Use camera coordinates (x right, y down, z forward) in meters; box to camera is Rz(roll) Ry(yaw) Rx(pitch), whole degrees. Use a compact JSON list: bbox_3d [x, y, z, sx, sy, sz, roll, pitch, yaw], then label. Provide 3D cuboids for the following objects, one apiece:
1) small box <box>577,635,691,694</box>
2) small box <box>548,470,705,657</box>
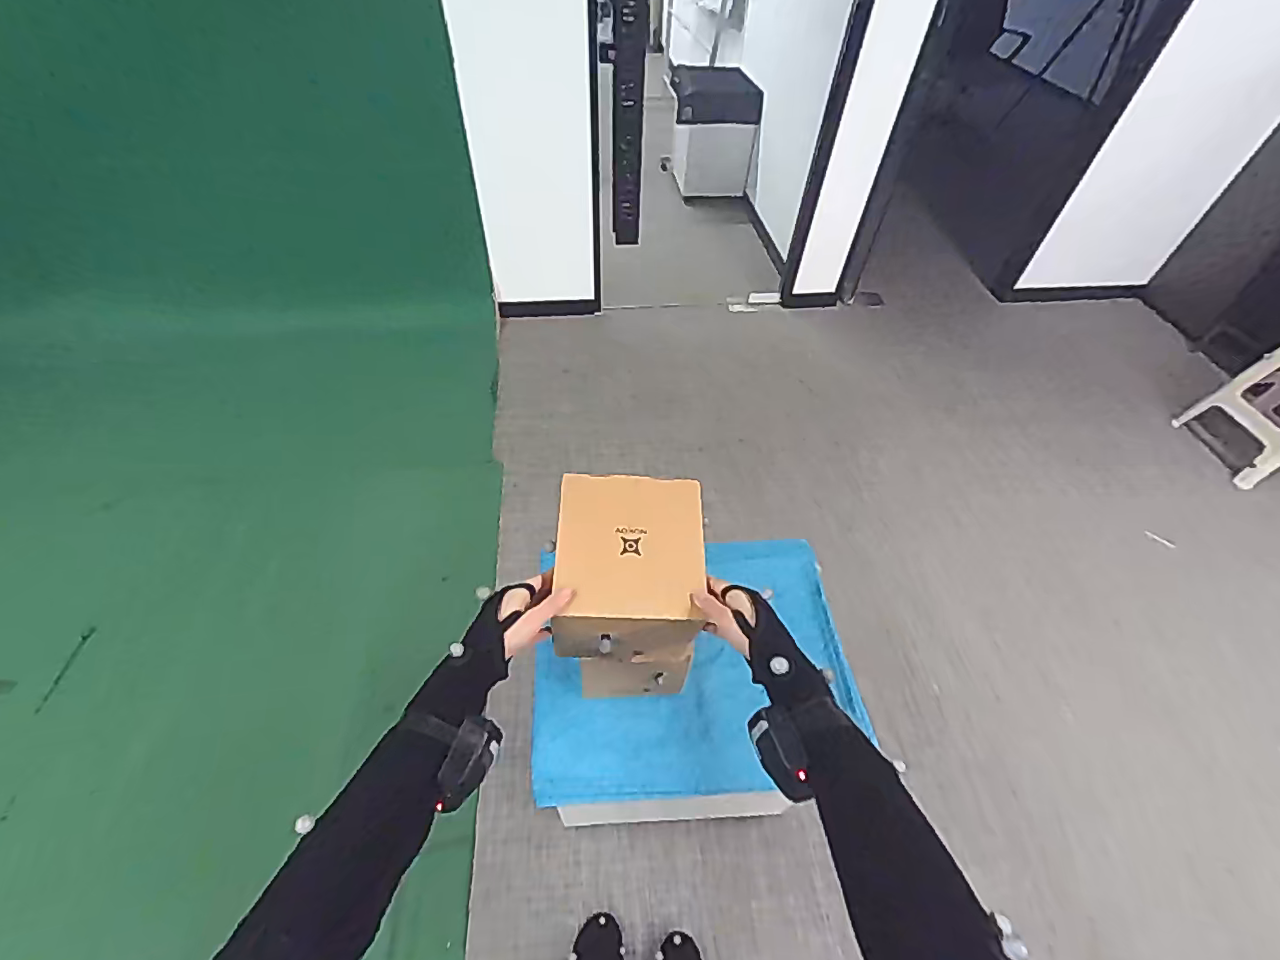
[{"bbox_3d":[-0.015,0.236,0.874,0.168,0.176,0.179,0,49,-5],"label":"small box"},{"bbox_3d":[-0.018,0.109,0.663,0.168,0.176,0.179,3,56,-5],"label":"small box"}]
